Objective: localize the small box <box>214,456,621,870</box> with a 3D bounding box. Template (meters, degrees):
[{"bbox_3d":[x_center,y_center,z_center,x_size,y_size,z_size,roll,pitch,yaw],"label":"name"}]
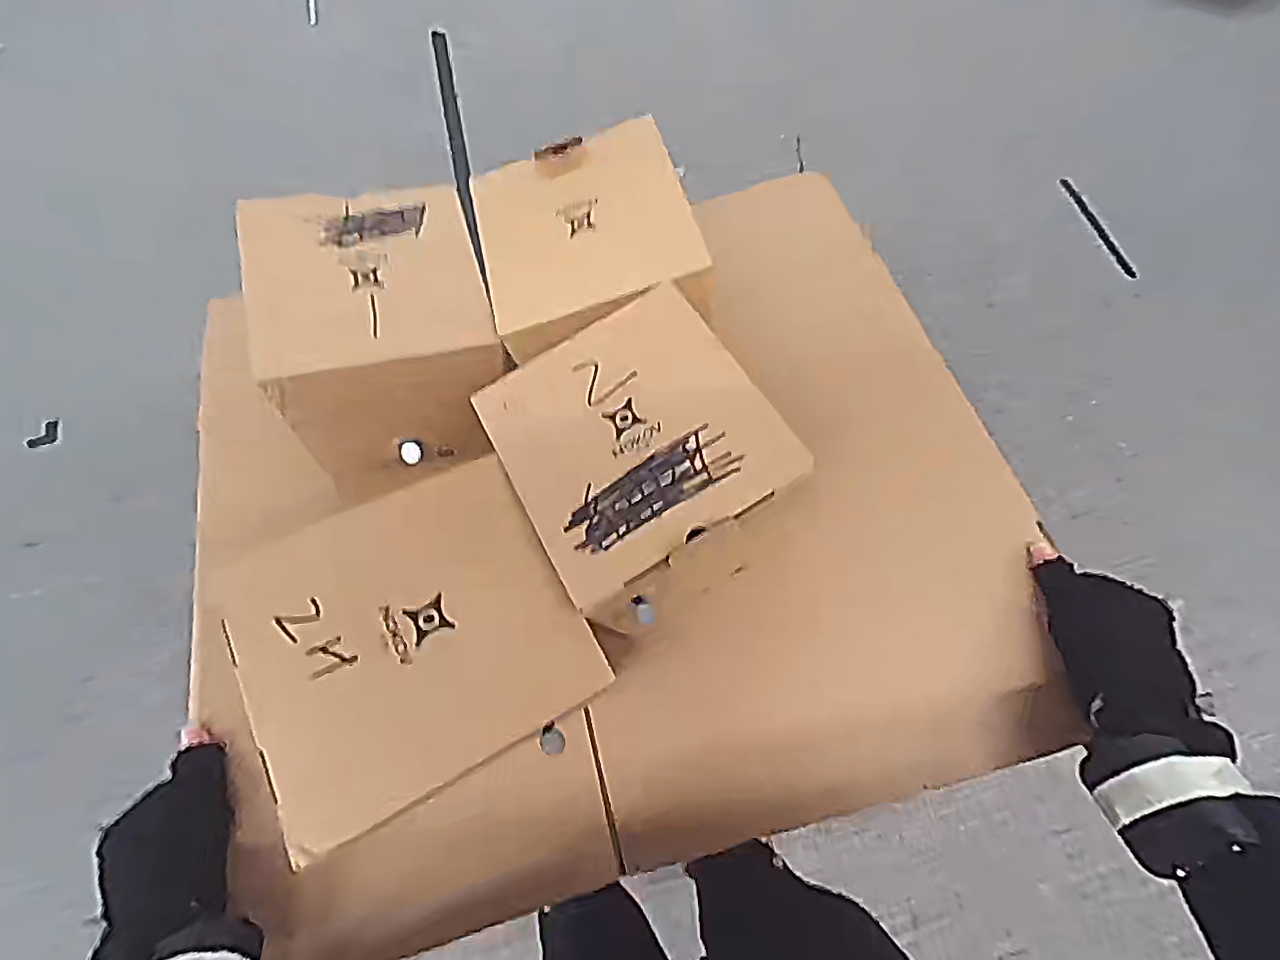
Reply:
[{"bbox_3d":[-0.135,0.115,0.373,0.179,0.176,0.168,-25,71,-20],"label":"small box"}]
